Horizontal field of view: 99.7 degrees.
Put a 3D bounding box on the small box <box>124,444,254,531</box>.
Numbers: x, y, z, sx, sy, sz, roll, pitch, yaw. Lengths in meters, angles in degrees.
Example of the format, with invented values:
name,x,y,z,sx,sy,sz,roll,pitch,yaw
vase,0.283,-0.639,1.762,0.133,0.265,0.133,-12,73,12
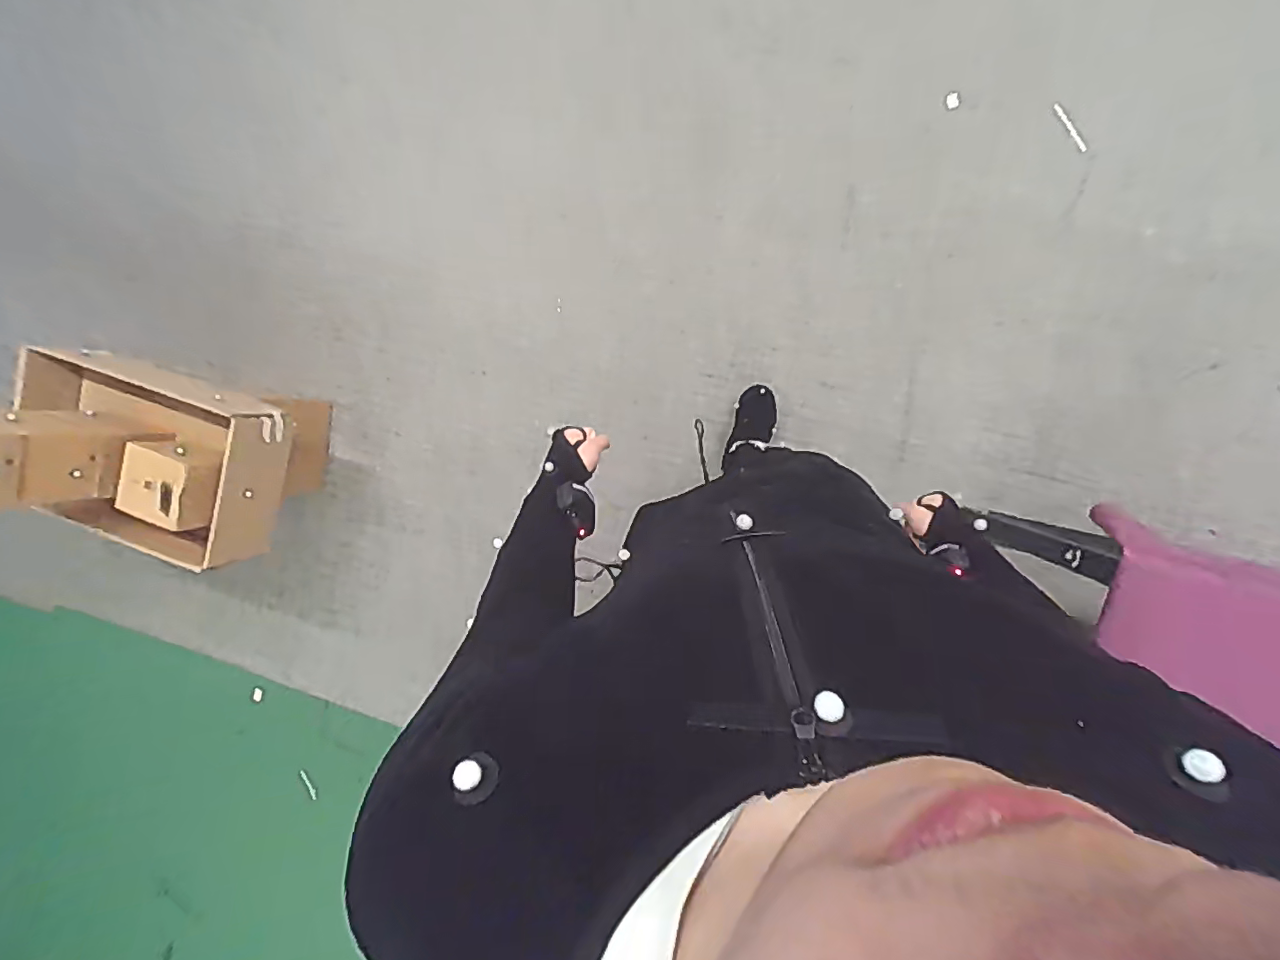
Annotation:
name,x,y,z,sx,sy,sz,roll,pitch,yaw
small box,-1.104,0.009,1.336,0.179,0.176,0.168,19,97,9

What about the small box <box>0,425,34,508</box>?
name,x,y,z,sx,sy,sz,roll,pitch,yaw
small box,-1.359,-0.032,1.049,0.179,0.176,0.168,16,98,5

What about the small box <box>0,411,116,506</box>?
name,x,y,z,sx,sy,sz,roll,pitch,yaw
small box,-1.350,-0.052,1.213,0.179,0.176,0.168,17,97,5
